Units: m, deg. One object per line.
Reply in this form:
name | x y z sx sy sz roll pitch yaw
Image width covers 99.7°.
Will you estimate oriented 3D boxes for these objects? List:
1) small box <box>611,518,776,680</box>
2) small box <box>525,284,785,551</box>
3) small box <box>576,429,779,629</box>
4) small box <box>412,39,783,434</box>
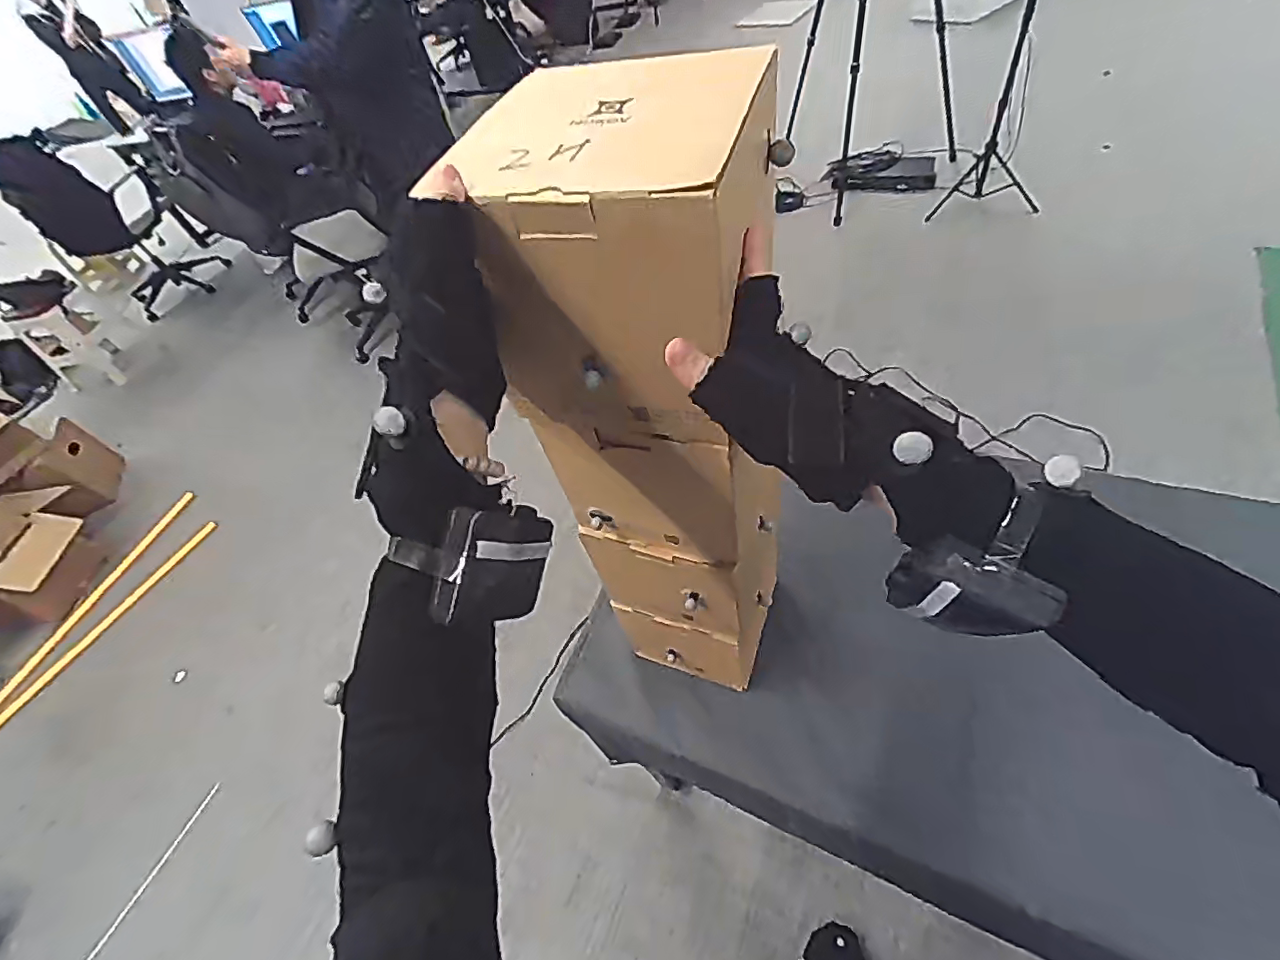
small box | 0.081 0.144 0.741 0.168 0.176 0.179 12 57 22
small box | 0.029 -0.060 0.491 0.168 0.176 0.179 13 56 20
small box | 0.055 0.044 0.615 0.168 0.176 0.179 14 57 21
small box | -0.005 -0.157 0.361 0.168 0.176 0.179 9 56 18
